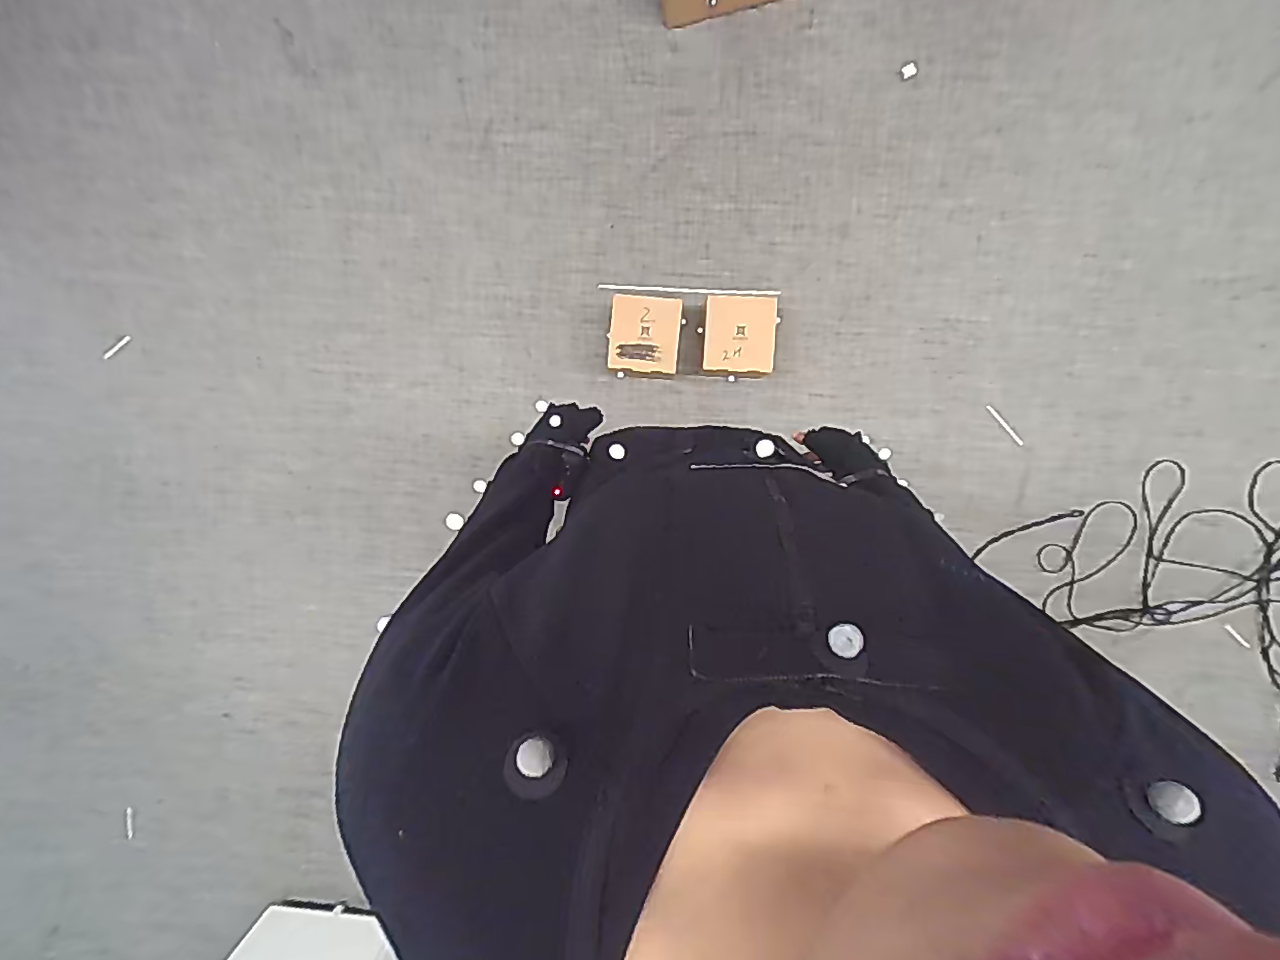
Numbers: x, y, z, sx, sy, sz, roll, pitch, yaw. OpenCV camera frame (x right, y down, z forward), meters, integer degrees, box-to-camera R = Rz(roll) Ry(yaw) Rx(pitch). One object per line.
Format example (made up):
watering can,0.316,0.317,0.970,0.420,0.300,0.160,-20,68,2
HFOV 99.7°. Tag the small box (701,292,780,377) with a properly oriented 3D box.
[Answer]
small box,0.242,-0.353,1.339,0.168,0.176,0.179,3,97,3
